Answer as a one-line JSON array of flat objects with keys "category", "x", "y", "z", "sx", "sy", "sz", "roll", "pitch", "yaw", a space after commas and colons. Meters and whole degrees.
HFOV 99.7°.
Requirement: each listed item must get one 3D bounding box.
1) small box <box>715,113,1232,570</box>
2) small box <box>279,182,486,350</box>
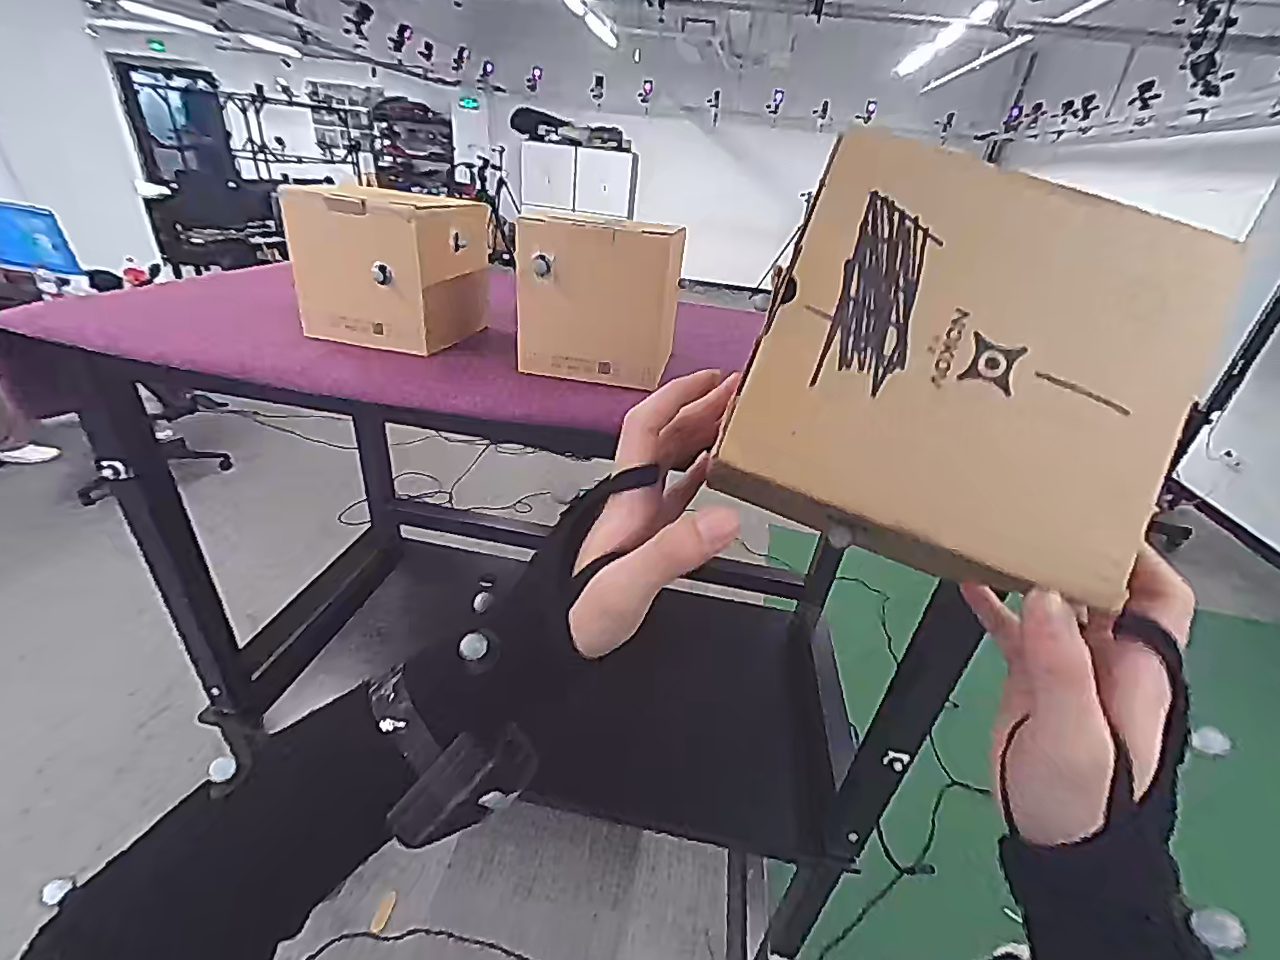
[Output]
[{"category": "small box", "x": 0.152, "y": -0.059, "z": 0.316, "sx": 0.179, "sy": 0.168, "sz": 0.176, "roll": 21, "pitch": -3, "yaw": 7}, {"category": "small box", "x": -0.305, "y": -0.273, "z": 0.686, "sx": 0.168, "sy": 0.176, "sz": 0.179, "roll": 12, "pitch": 28, "yaw": 7}]
